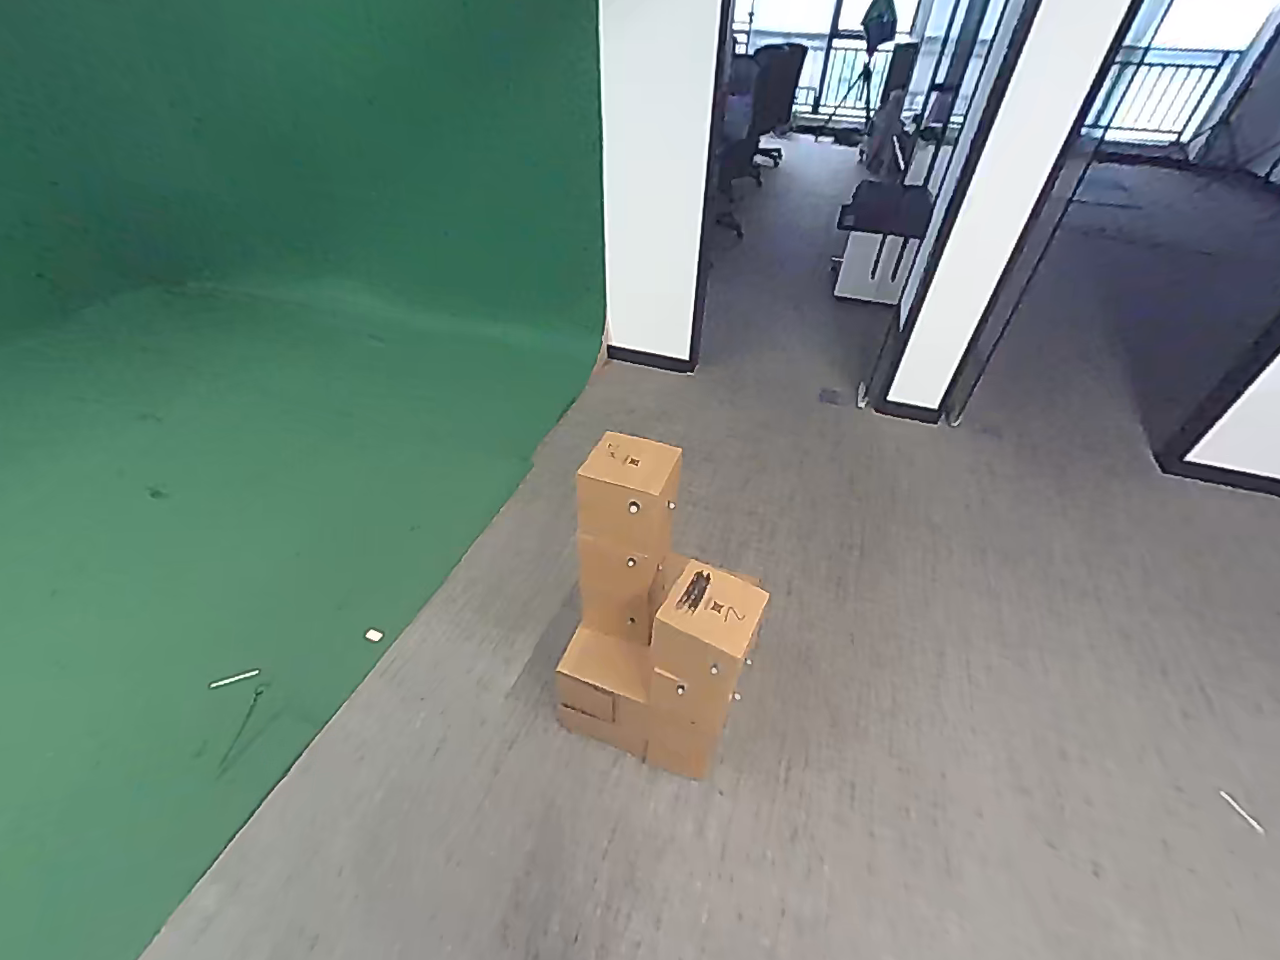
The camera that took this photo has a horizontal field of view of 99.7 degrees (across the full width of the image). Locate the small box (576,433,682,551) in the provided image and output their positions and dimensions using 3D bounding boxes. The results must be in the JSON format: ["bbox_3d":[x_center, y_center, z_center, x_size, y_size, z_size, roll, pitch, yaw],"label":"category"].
[{"bbox_3d":[-0.022,0.028,1.152,0.179,0.176,0.168,15,40,14],"label":"small box"}]

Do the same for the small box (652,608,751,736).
[{"bbox_3d":[0.132,0.425,1.198,0.168,0.176,0.179,18,43,17],"label":"small box"}]

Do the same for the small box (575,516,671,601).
[{"bbox_3d":[-0.038,0.155,1.257,0.179,0.176,0.168,15,41,12],"label":"small box"}]

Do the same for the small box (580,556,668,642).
[{"bbox_3d":[-0.037,0.282,1.358,0.179,0.176,0.168,13,41,13],"label":"small box"}]
